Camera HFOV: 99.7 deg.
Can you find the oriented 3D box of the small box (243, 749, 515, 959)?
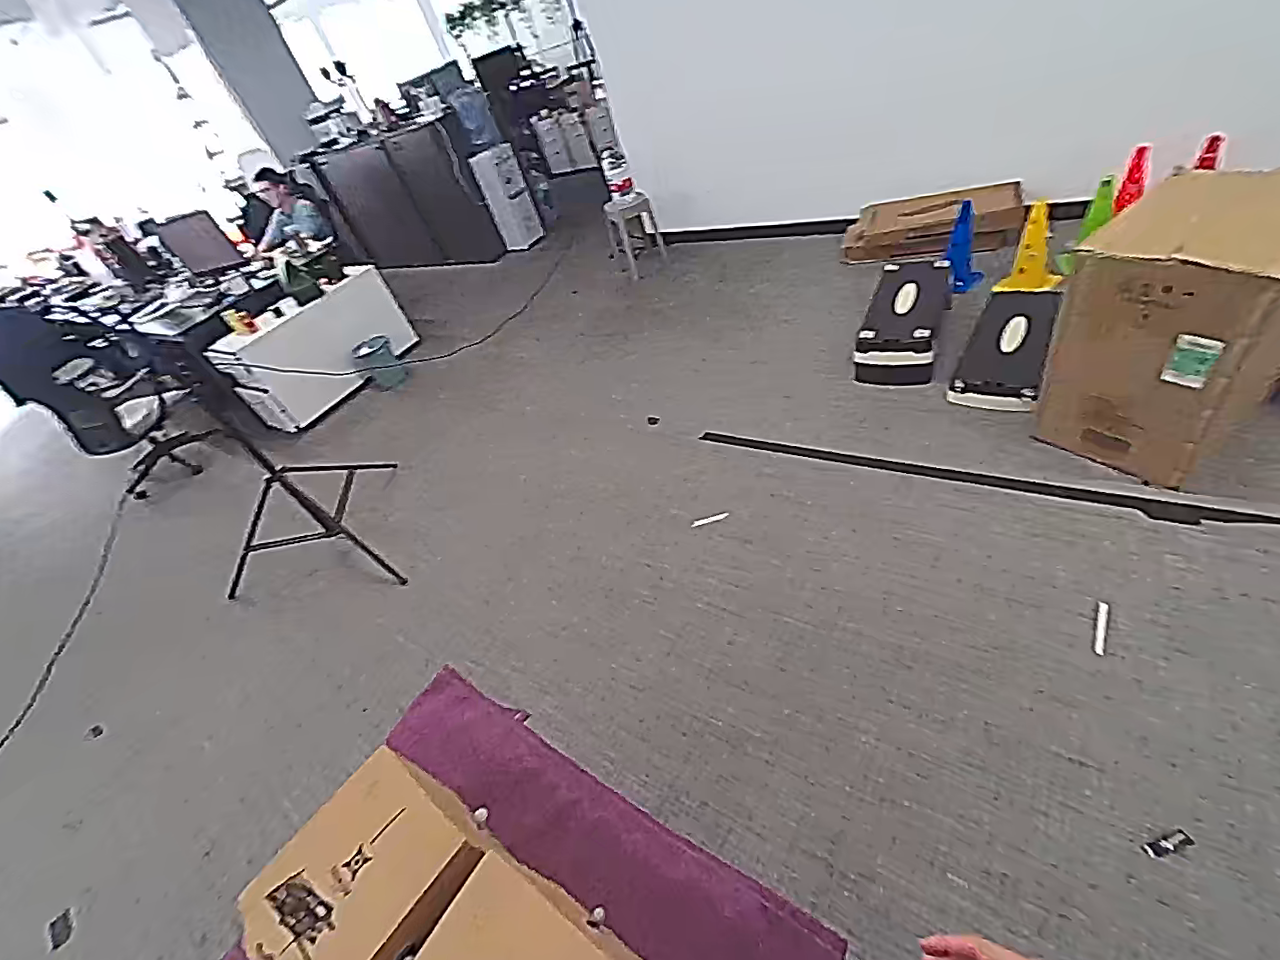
[{"bbox_3d":[-0.257,0.437,0.573,0.168,0.176,0.179,20,54,36],"label":"small box"}]

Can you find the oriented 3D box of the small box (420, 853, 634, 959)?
[{"bbox_3d":[-0.095,0.474,0.462,0.168,0.176,0.179,13,52,36],"label":"small box"}]
